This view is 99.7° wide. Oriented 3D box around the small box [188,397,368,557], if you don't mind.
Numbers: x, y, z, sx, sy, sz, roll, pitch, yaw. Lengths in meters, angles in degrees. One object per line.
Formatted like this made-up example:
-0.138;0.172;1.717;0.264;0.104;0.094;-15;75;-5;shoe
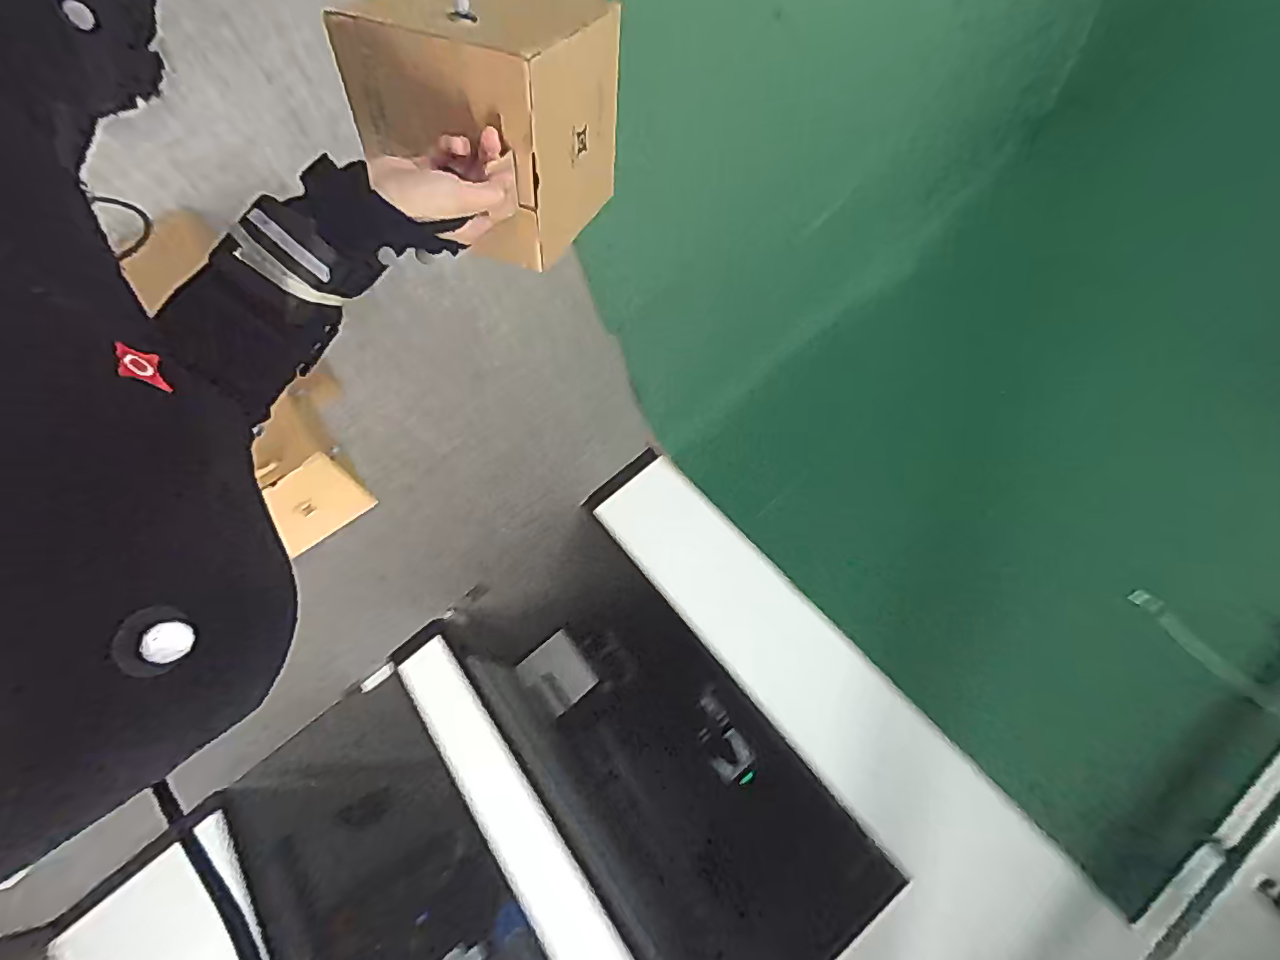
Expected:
-0.605;-0.006;0.915;0.168;0.176;0.179;-35;154;-14;small box

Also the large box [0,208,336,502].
-0.915;-0.238;1.062;0.408;0.320;0.320;-37;154;-9;large box
